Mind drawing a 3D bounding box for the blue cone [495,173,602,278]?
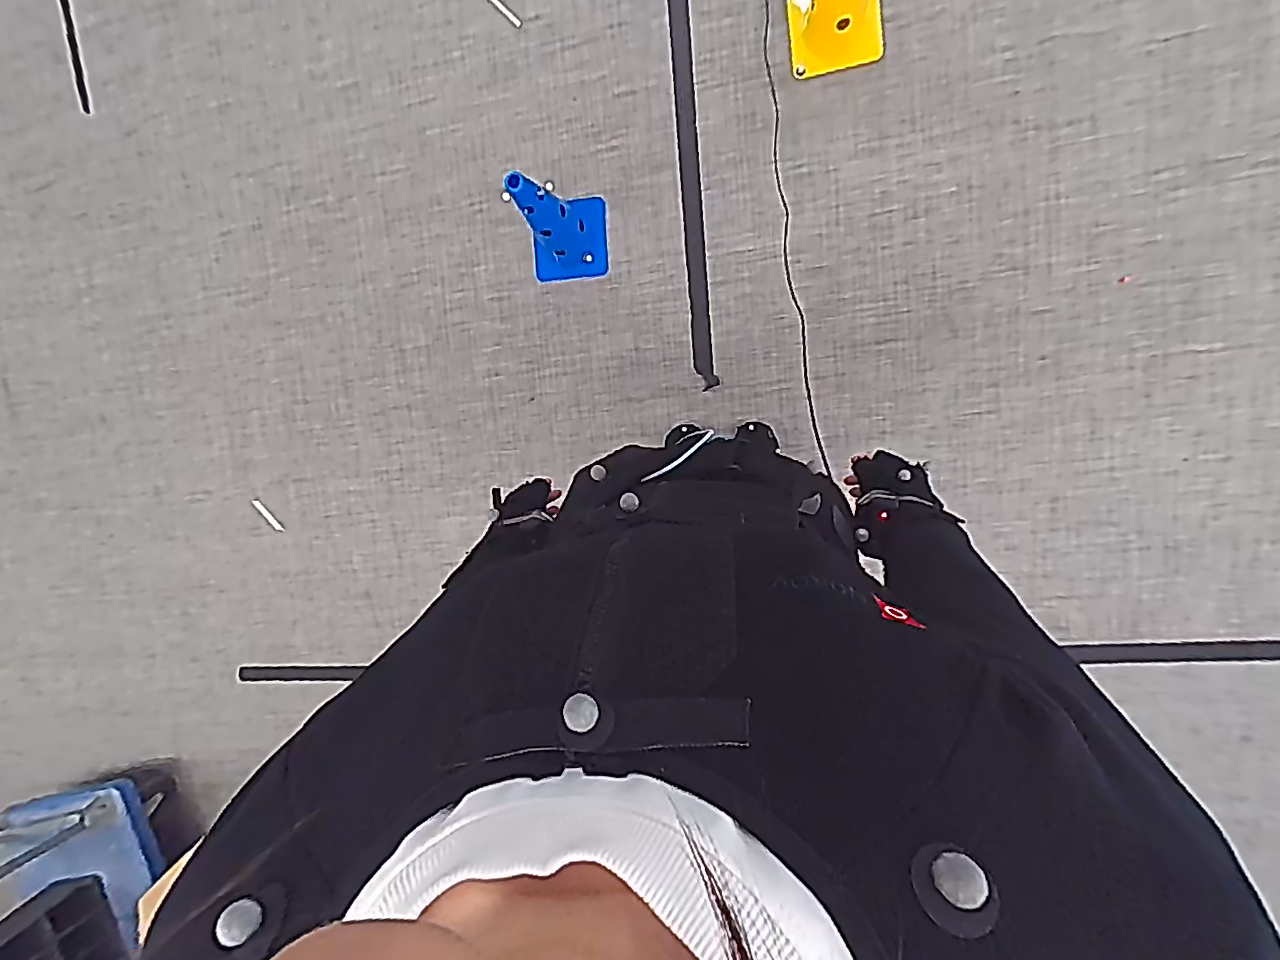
[{"bbox_3d":[-0.226,-0.617,1.257,0.192,0.380,0.193,0,96,12],"label":"blue cone"}]
